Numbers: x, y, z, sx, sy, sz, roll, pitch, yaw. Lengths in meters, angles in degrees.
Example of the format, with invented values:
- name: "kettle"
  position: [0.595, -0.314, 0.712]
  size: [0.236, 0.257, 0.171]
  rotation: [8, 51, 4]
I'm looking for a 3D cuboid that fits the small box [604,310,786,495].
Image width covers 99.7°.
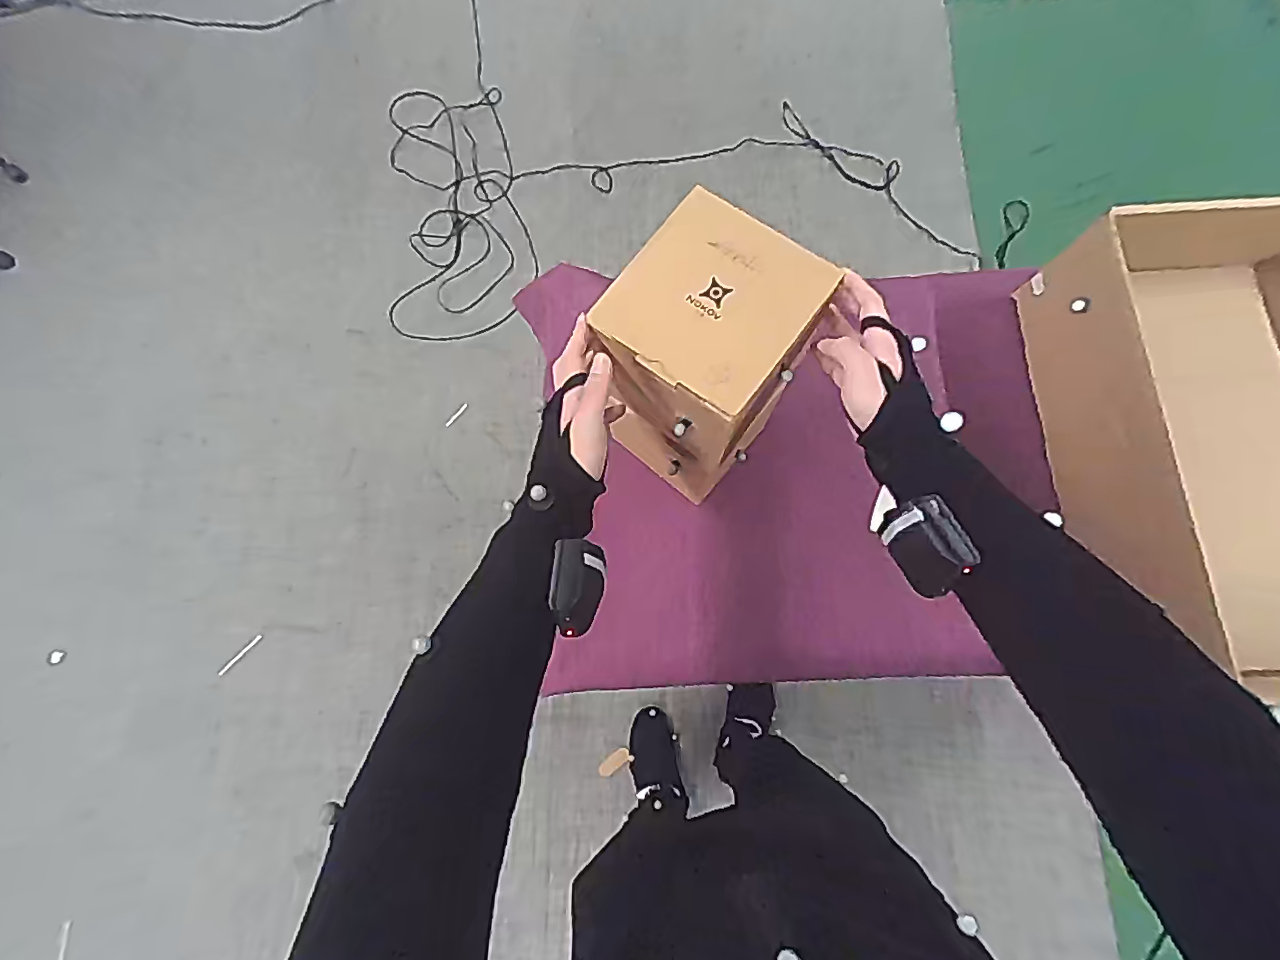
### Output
- name: "small box"
  position: [0.072, -0.096, 0.766]
  size: [0.179, 0.176, 0.168]
  rotation: [40, 79, 11]
